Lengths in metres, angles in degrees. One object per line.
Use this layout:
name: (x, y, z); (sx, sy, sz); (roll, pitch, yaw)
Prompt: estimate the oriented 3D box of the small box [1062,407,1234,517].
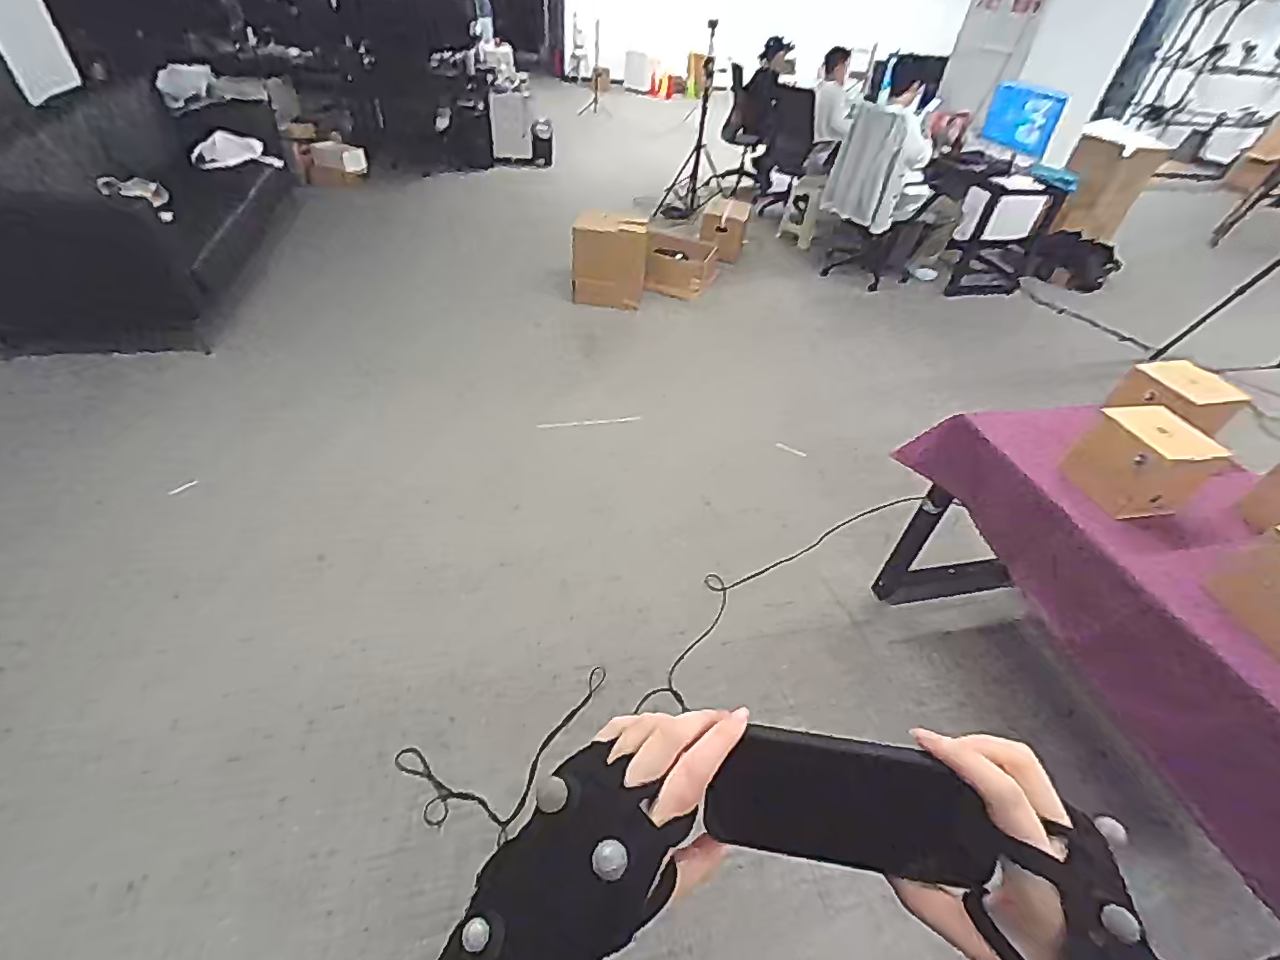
small box: (1.085, -0.041, 1.177); (0.168, 0.176, 0.179); (-4, 44, -11)
